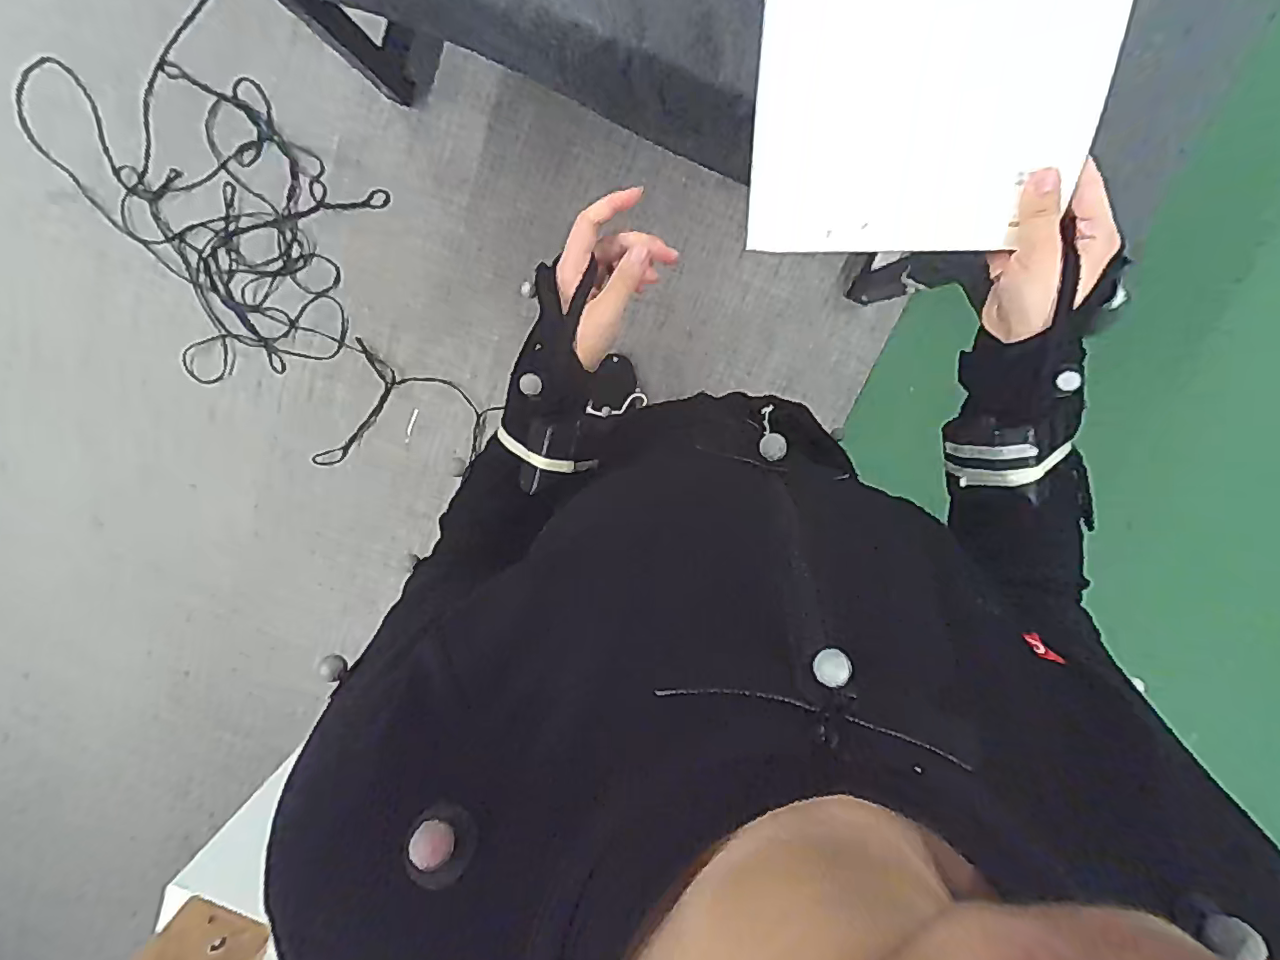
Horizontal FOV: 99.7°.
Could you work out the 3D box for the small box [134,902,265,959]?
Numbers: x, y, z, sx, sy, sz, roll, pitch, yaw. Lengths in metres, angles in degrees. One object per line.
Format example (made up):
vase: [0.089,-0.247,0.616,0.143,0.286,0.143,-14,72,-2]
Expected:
small box: [-0.786,0.886,0.923,0.168,0.176,0.179,24,104,-2]
